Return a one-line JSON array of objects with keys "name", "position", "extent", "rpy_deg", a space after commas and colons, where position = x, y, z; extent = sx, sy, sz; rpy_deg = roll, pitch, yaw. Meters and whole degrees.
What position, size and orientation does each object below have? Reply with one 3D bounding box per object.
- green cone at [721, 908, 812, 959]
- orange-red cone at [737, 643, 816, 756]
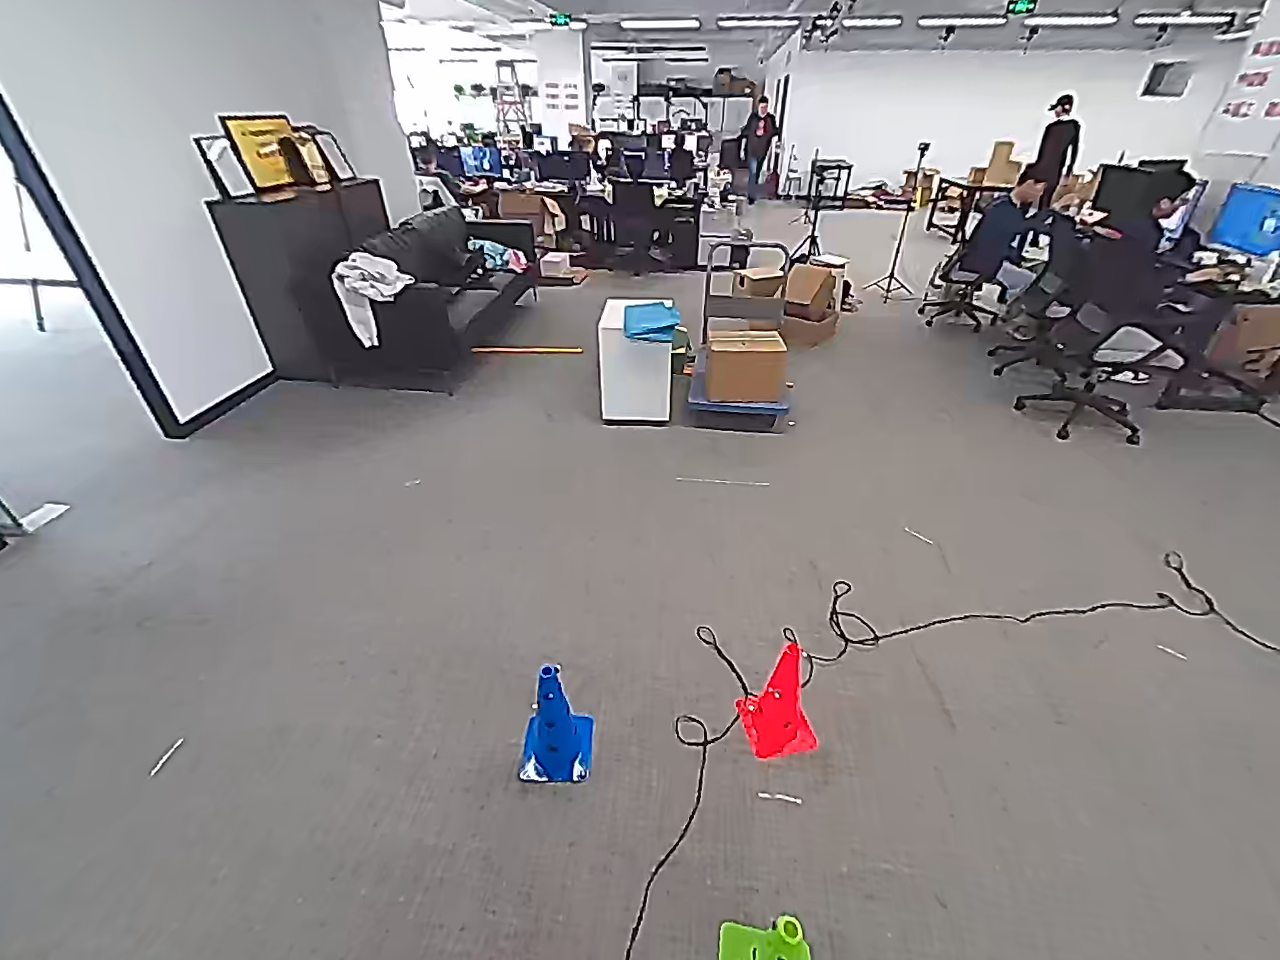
[{"name": "green cone", "position": [0.271, 0.933, 1.050], "extent": [0.200, 0.368, 0.202], "rpy_deg": [6, 34, 8]}, {"name": "orange-red cone", "position": [0.411, 0.596, 1.553], "extent": [0.198, 0.360, 0.199], "rpy_deg": [-7, 36, -8]}]
